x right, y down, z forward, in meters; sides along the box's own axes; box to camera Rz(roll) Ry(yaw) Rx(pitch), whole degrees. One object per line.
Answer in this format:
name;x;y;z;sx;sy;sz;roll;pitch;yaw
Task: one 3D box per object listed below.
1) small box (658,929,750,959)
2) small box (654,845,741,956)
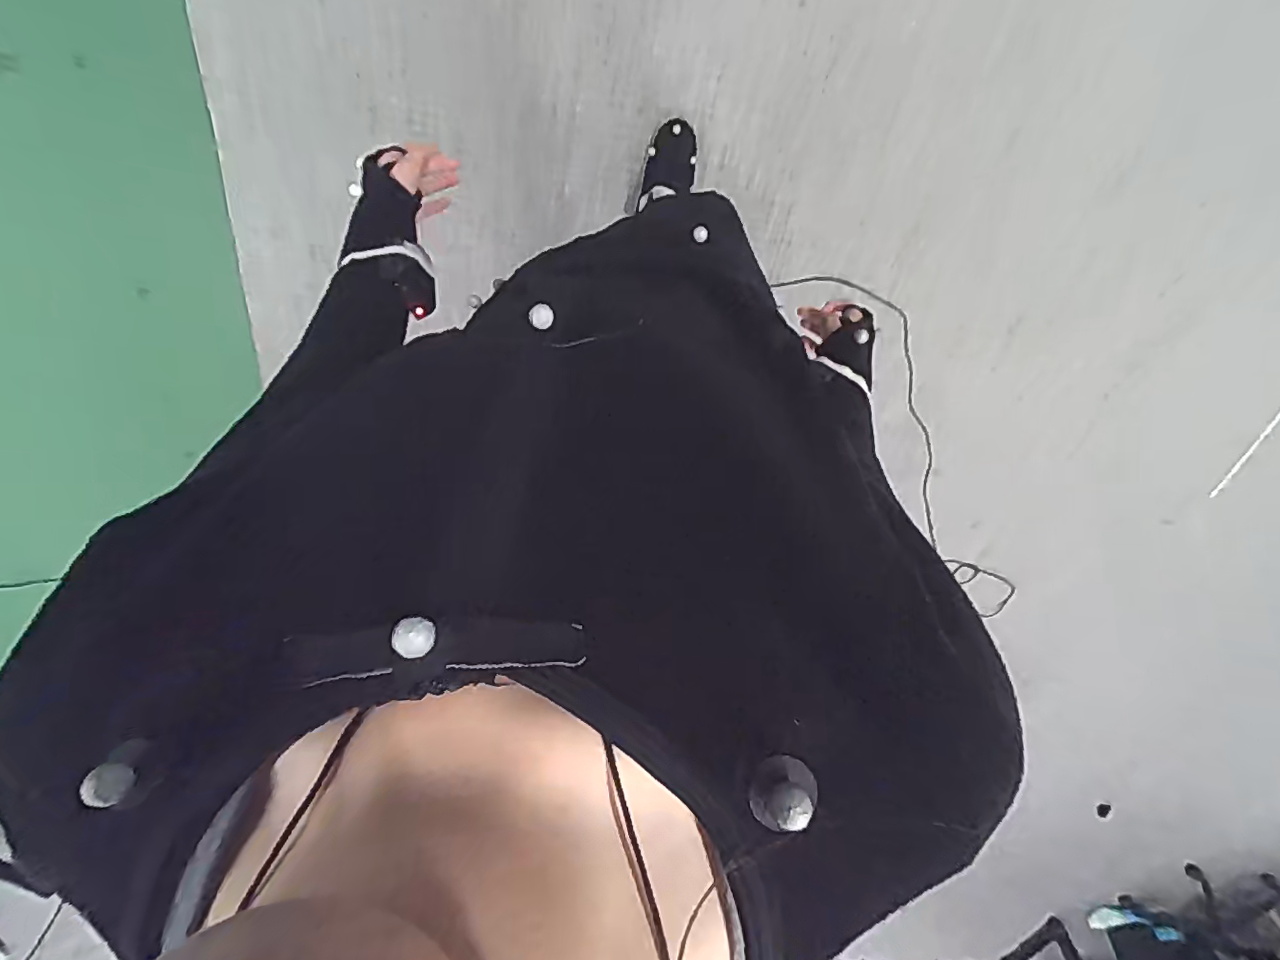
small box;0.132;1.093;1.148;0.179;0.176;0.168;13;121;-3
small box;0.130;1.008;1.289;0.168;0.176;0.179;11;121;-2
